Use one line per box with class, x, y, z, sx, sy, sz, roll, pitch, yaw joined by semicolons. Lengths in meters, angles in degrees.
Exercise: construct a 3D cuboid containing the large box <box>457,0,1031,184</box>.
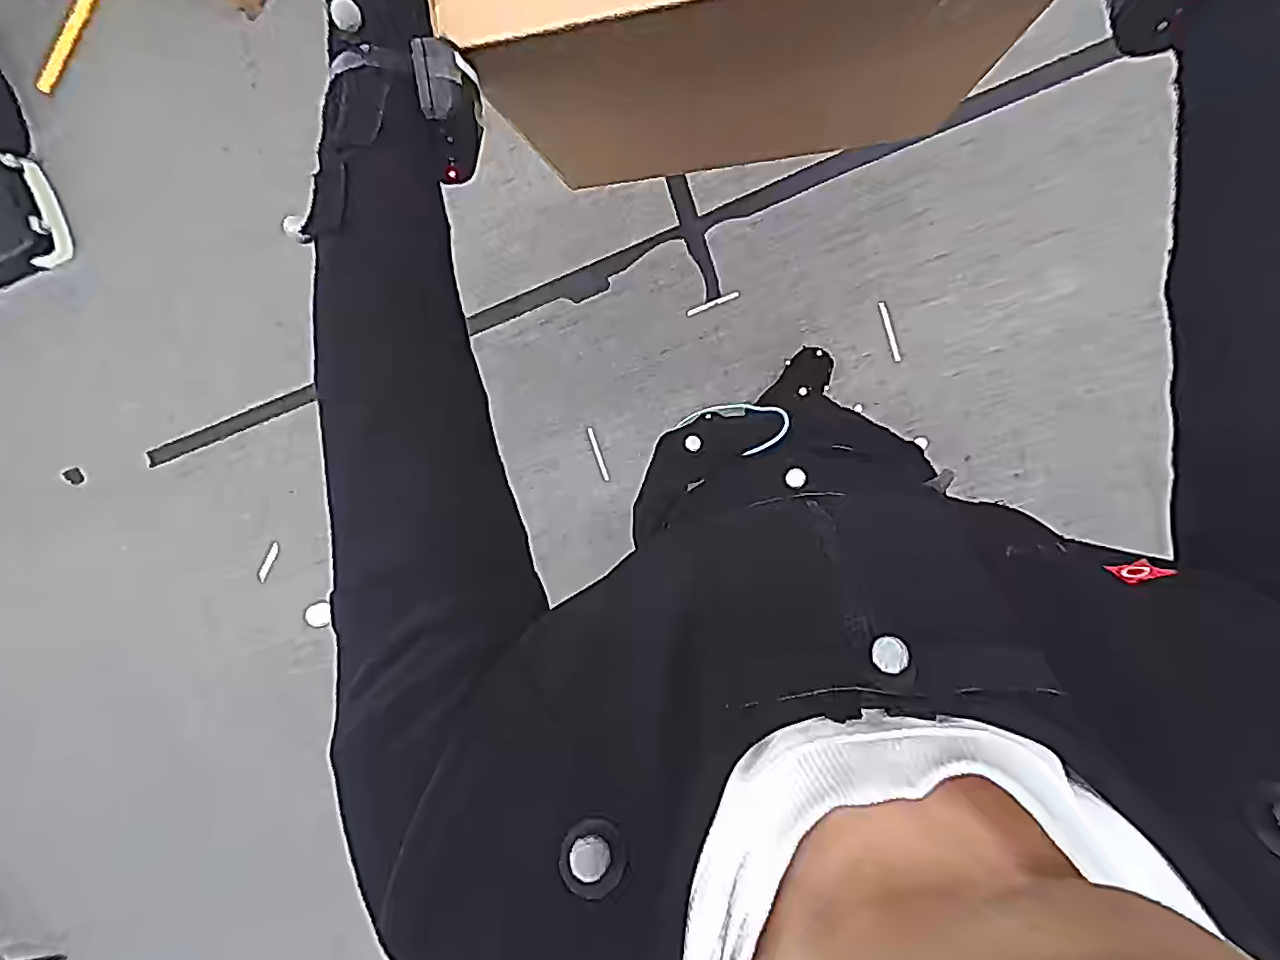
large box;0.079;-0.483;0.441;0.408;0.320;0.320;-4;102;9
